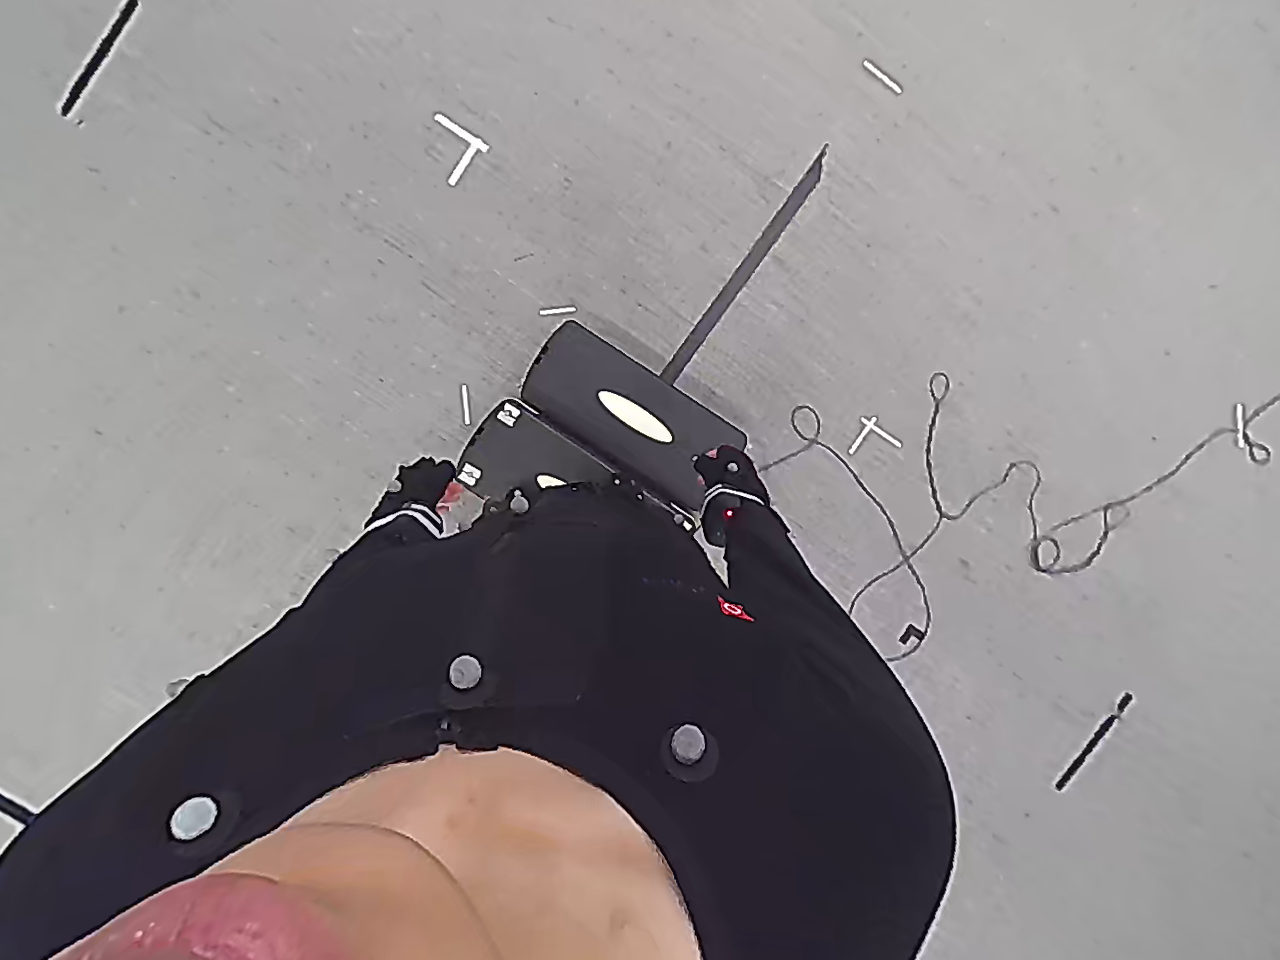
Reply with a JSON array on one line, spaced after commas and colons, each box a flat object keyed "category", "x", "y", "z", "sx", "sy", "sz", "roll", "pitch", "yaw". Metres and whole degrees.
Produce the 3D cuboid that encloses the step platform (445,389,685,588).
[{"category": "step platform", "x": -0.207, "y": 0.026, "z": 1.572, "sx": 0.684, "sy": 0.204, "sz": 0.286, "roll": 33, "pitch": 91, "yaw": -3}]
